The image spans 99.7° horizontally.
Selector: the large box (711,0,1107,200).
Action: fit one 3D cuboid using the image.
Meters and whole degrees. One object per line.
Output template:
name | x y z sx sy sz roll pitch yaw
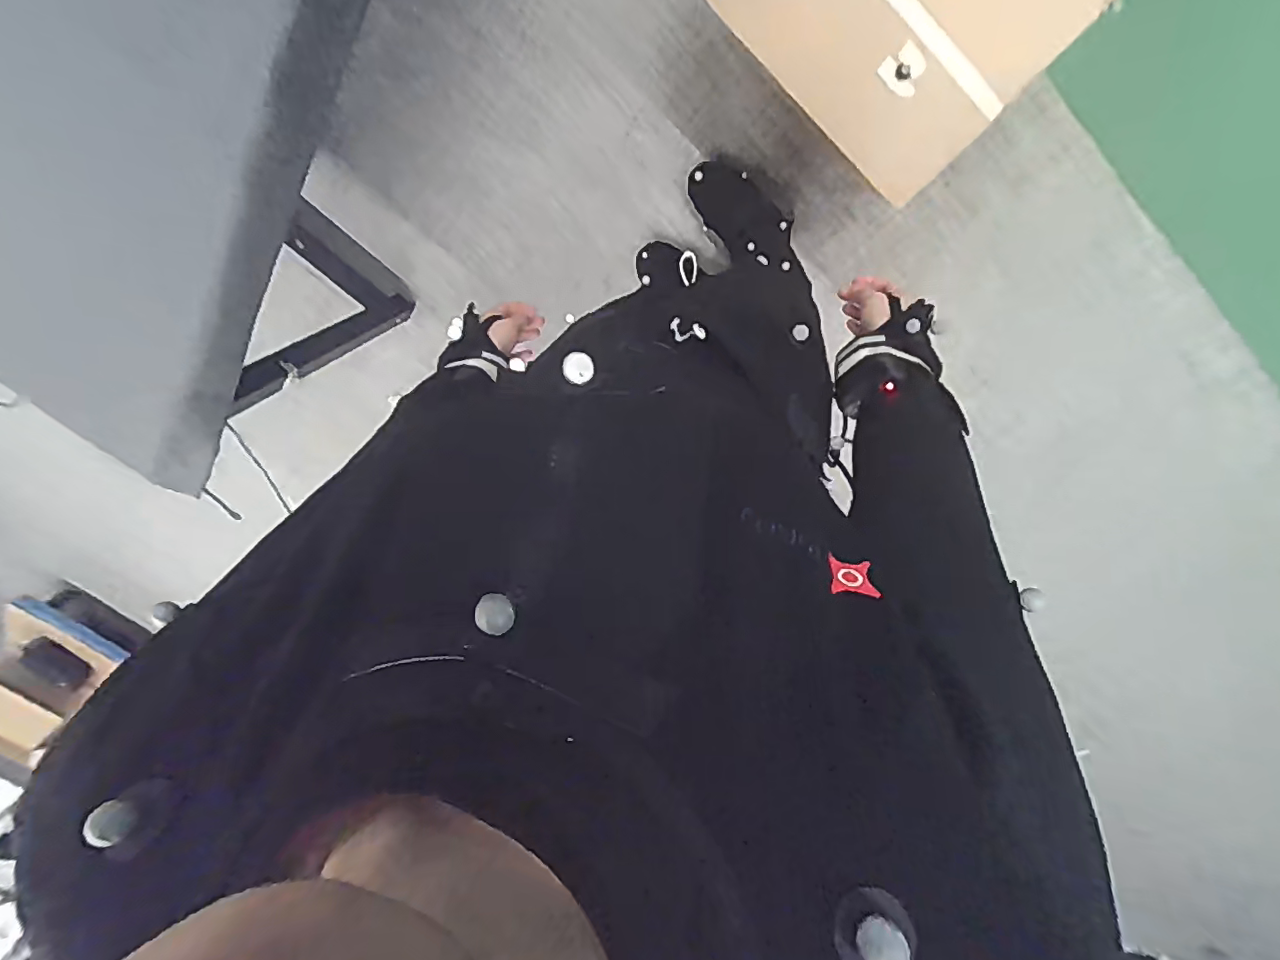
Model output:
large box | 0.362 -0.704 0.810 0.408 0.320 0.320 38 124 -13
